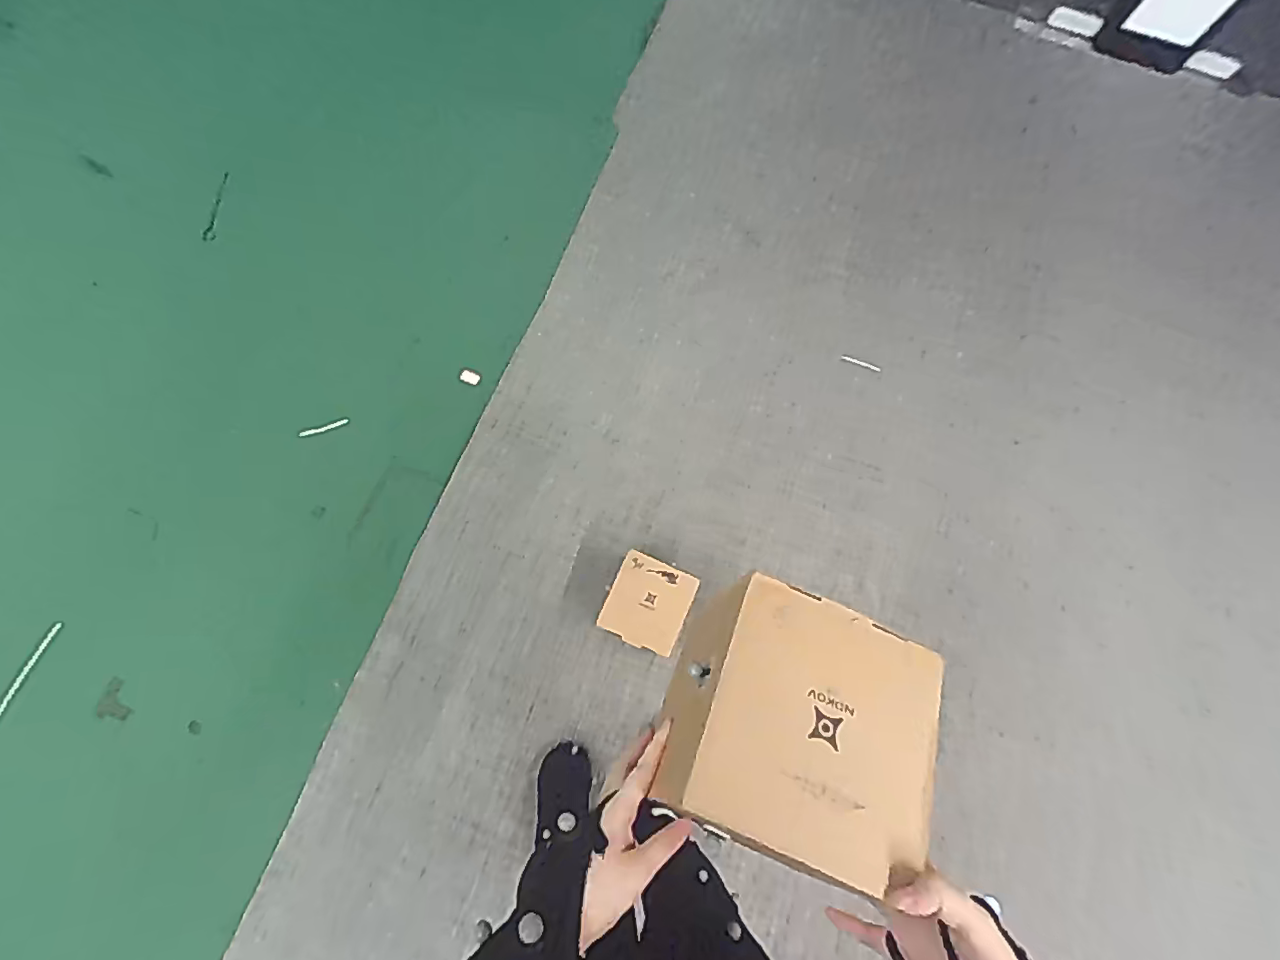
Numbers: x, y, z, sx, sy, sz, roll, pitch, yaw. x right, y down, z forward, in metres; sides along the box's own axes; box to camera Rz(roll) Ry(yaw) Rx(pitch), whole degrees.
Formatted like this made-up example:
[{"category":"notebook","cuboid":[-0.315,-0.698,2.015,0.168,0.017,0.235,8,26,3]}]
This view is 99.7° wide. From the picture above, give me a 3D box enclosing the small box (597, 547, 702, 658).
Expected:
[{"category":"small box","cuboid":[0.020,0.269,1.185,0.168,0.176,0.179,24,76,4]}]
